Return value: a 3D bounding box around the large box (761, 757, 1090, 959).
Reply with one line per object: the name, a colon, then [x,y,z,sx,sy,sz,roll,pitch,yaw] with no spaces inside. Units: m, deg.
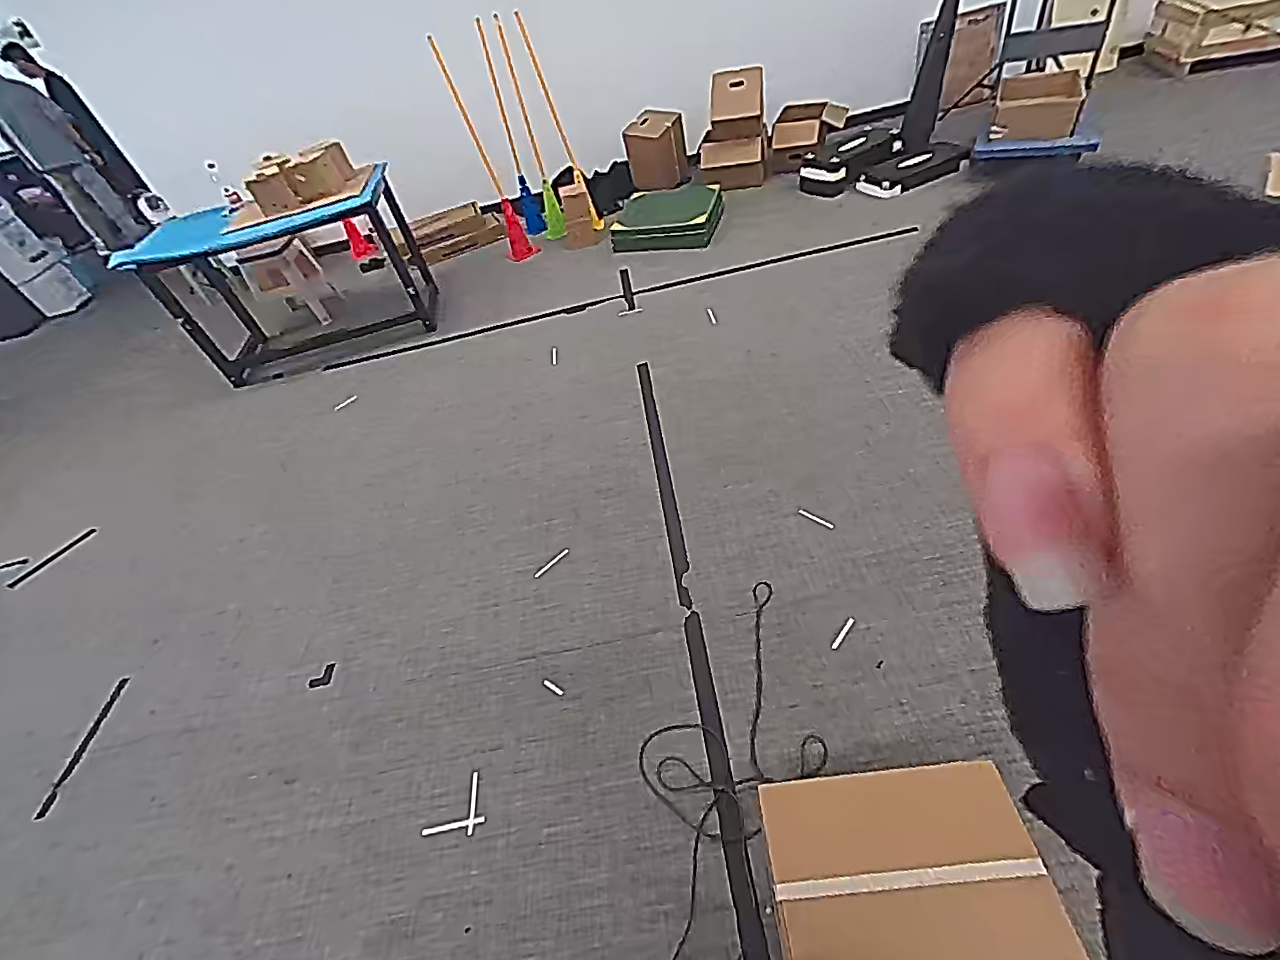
large box: [0.447,0.723,0.945,0.408,0.320,0.320,-10,45,5]
